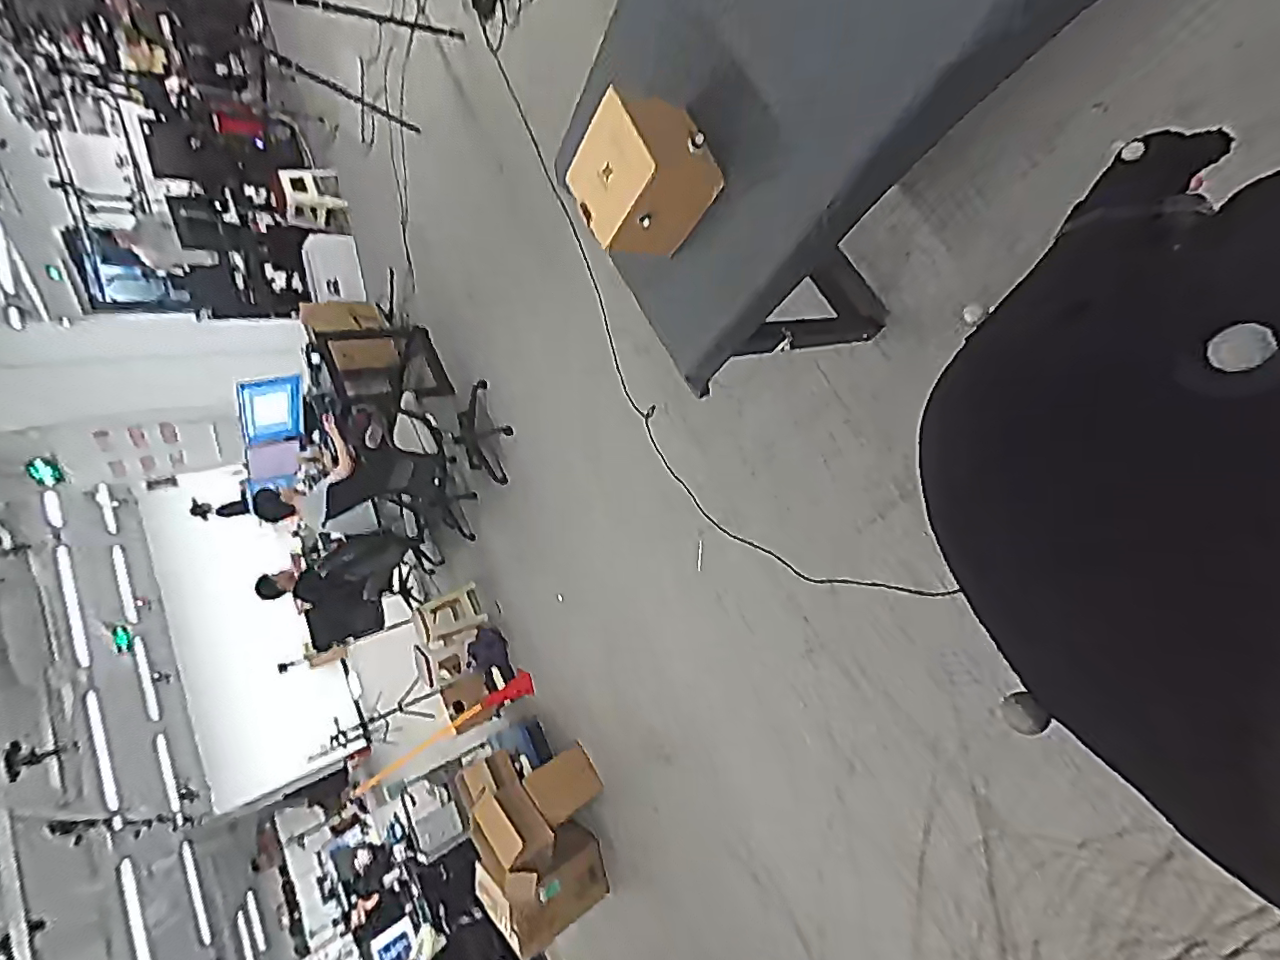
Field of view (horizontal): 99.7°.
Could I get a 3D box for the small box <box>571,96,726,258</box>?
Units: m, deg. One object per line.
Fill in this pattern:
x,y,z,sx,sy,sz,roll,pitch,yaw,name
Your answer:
0.014,-0.503,0.930,0.179,0.176,0.168,-40,72,48,small box
